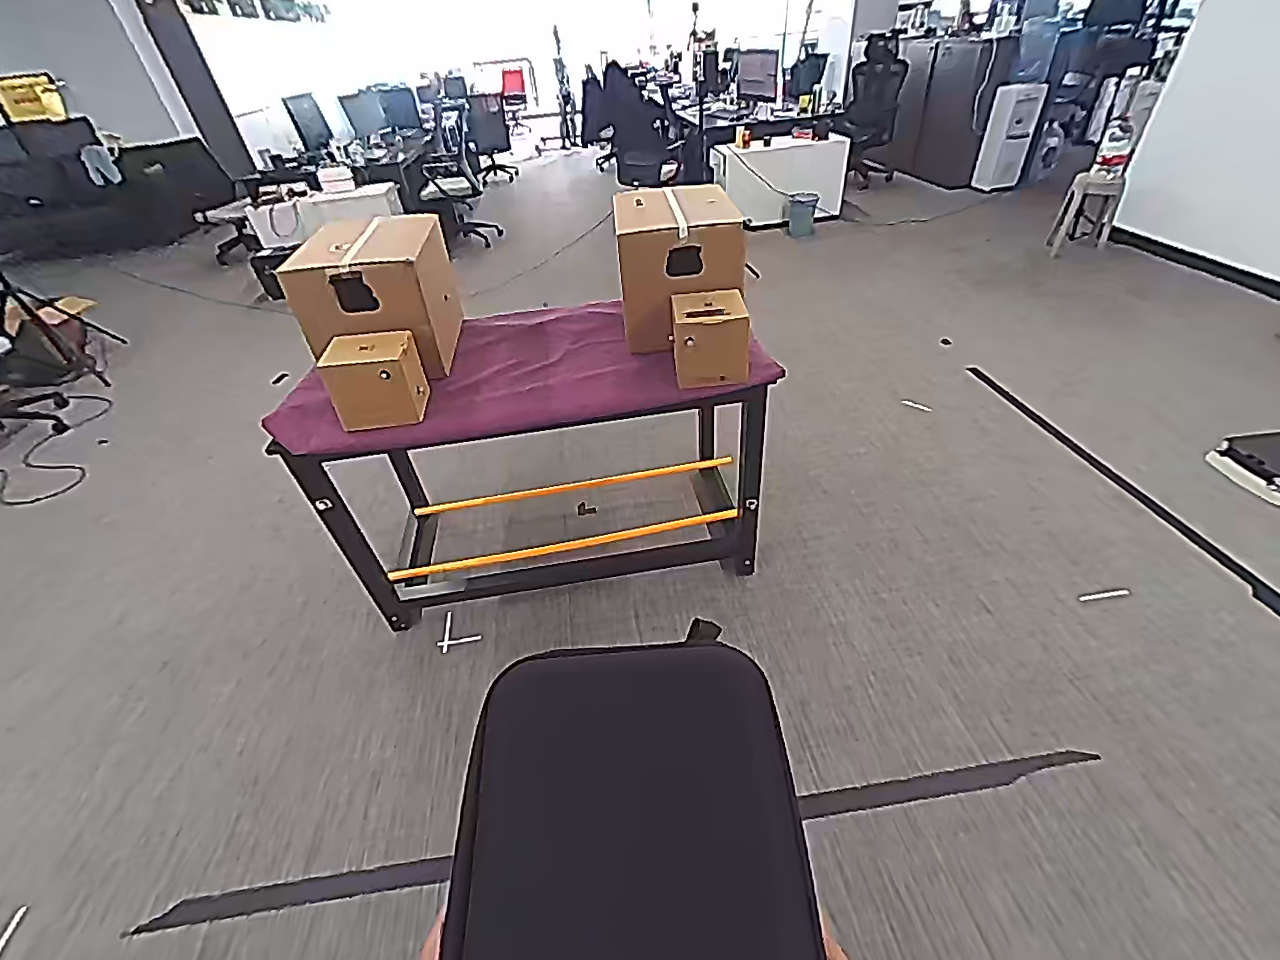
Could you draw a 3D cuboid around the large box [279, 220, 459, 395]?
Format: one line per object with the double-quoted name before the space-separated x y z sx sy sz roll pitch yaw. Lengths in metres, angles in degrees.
"large box" -0.702 -0.484 1.487 0.320 0.320 0.408 -8 42 -5
